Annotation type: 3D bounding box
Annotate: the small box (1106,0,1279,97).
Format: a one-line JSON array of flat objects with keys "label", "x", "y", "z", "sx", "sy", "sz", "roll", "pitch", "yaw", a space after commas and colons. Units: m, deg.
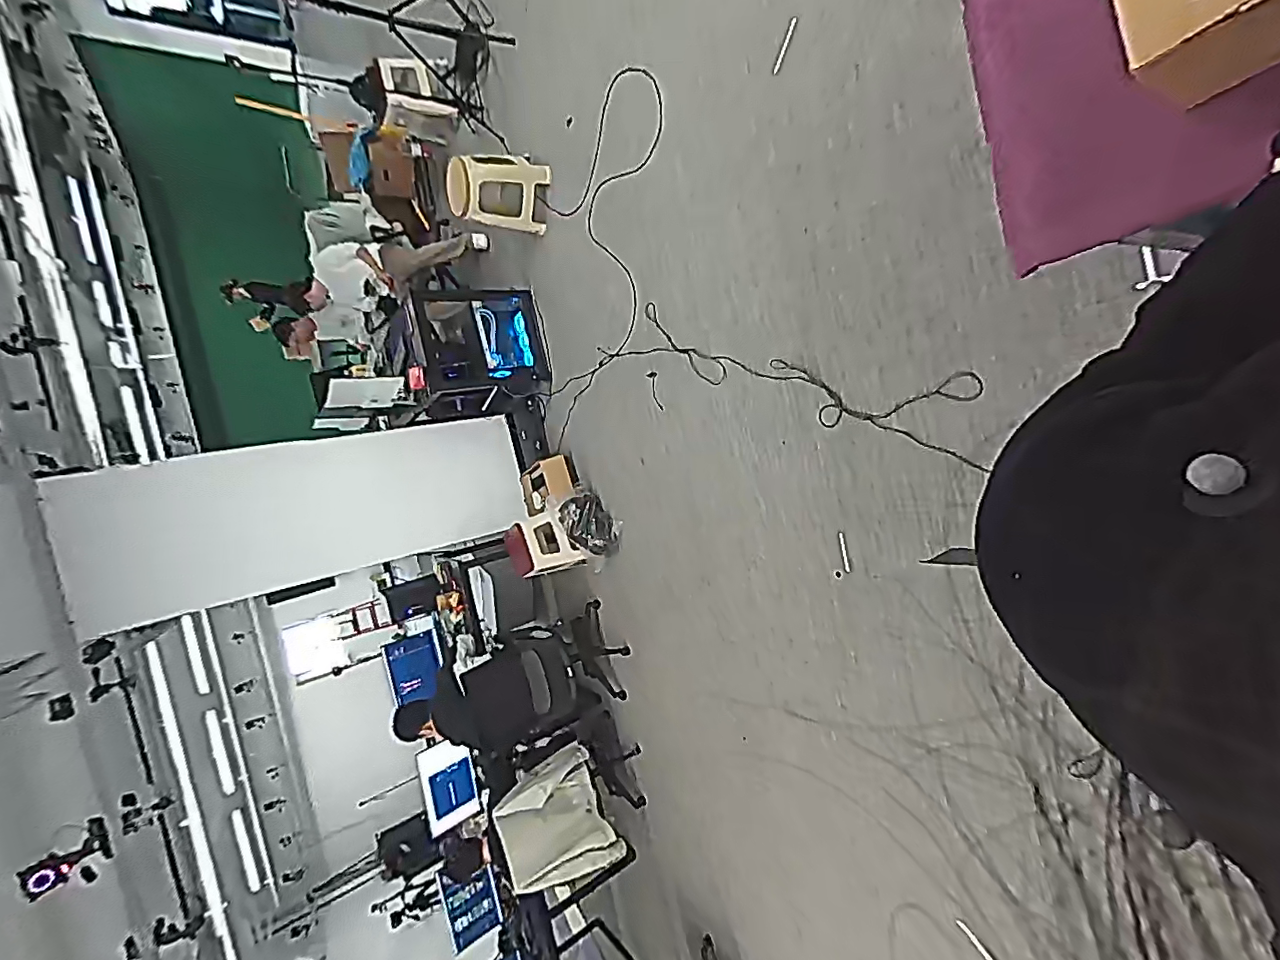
[{"label": "small box", "x": 0.489, "y": -0.450, "z": 0.425, "sx": 0.168, "sy": 0.176, "sz": 0.179, "roll": -14, "pitch": 90, "yaw": 57}]
